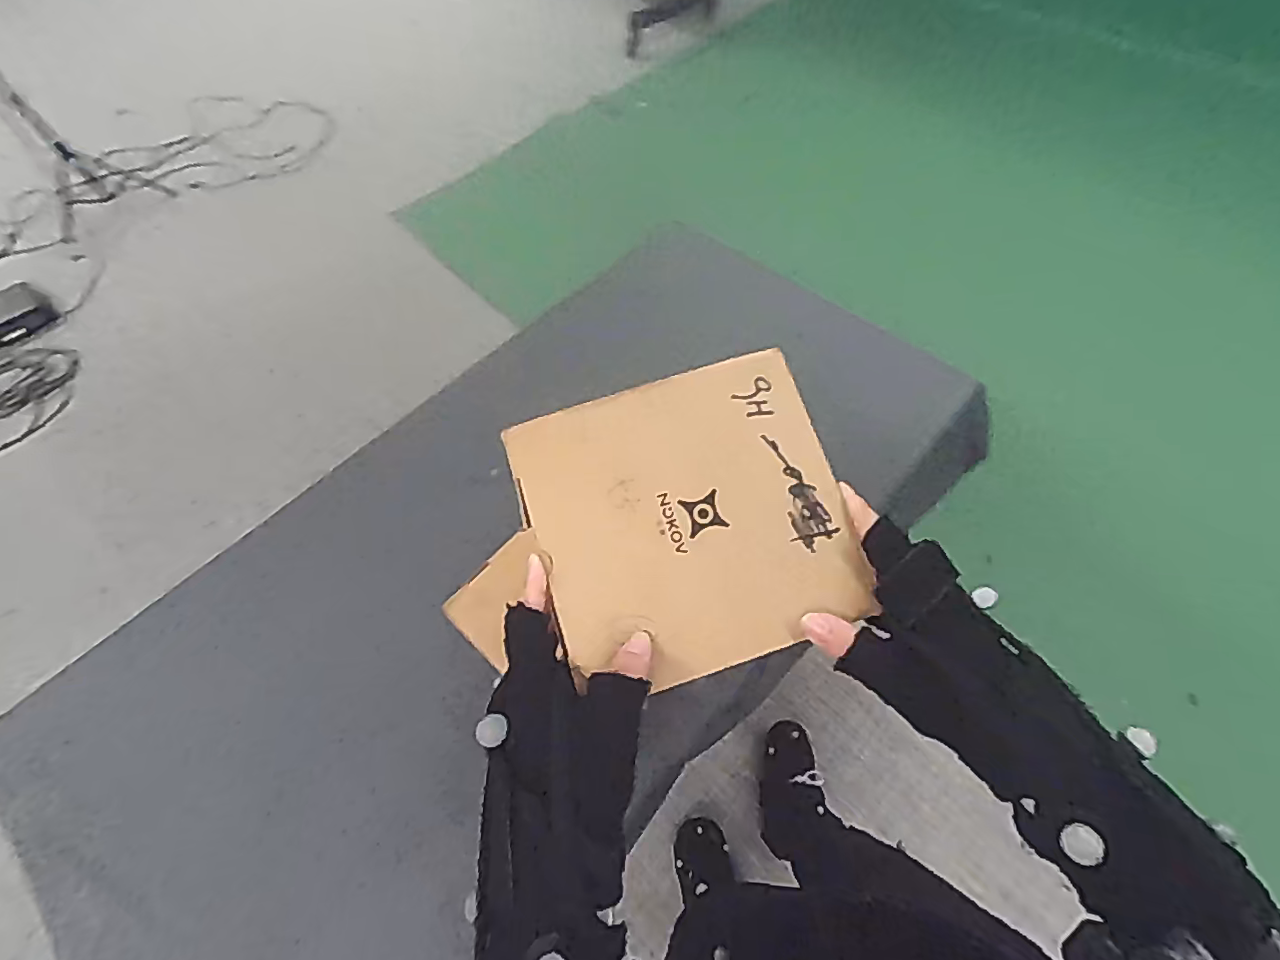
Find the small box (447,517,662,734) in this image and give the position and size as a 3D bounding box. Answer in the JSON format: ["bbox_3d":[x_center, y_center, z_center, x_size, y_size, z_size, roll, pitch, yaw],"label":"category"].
[{"bbox_3d":[-0.066,0.151,0.582,0.179,0.176,0.168,37,70,20],"label":"small box"}]

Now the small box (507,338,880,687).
[{"bbox_3d":[0.027,0.033,0.387,0.179,0.176,0.168,-19,76,-6],"label":"small box"}]
